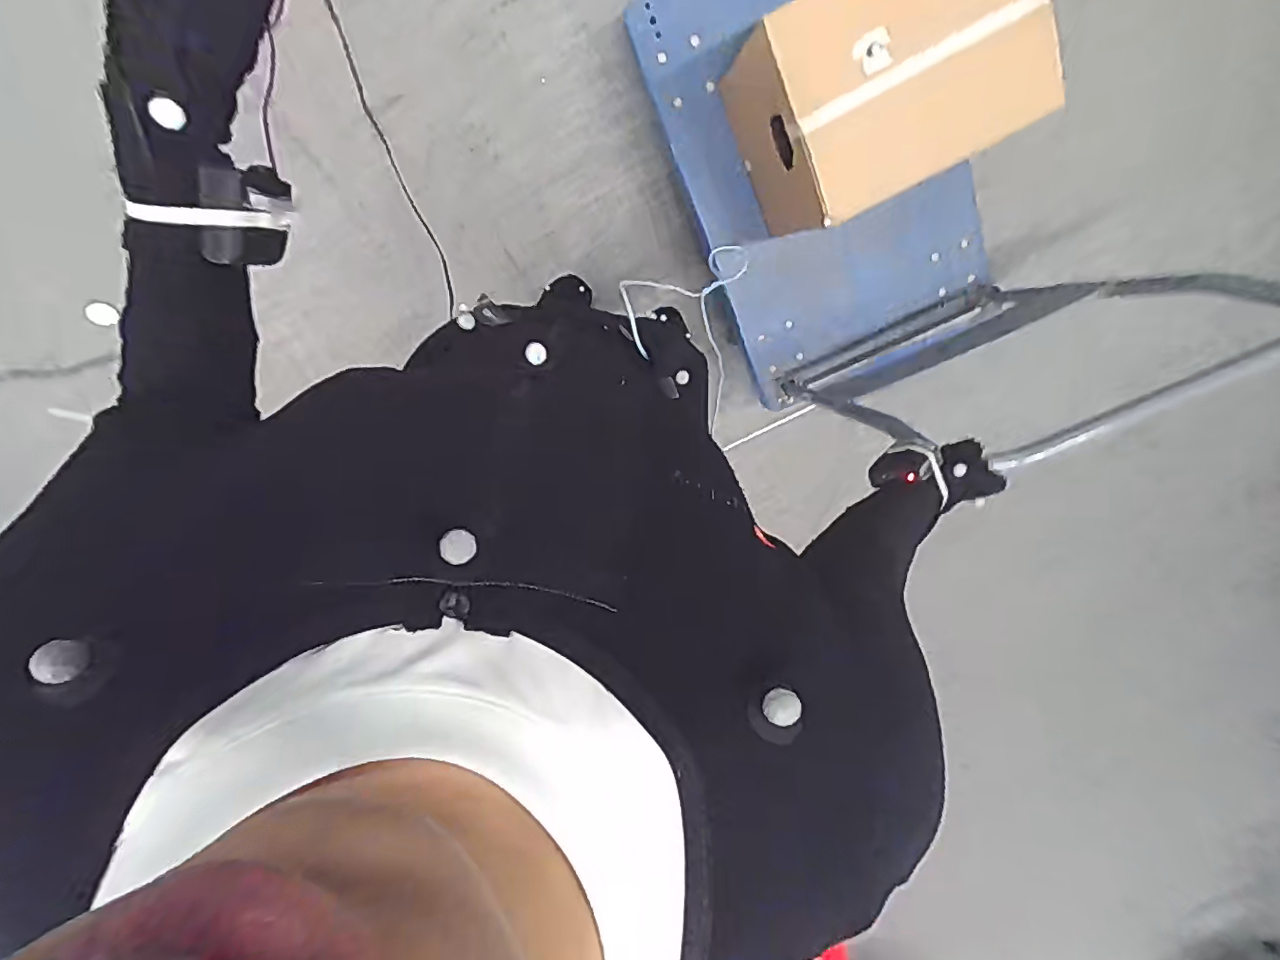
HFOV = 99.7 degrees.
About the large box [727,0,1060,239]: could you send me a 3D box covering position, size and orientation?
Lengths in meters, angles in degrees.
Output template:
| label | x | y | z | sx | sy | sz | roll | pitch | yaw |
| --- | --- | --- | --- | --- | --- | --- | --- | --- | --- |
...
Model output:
| label | x | y | z | sx | sy | sz | roll | pitch | yaw |
| --- | --- | --- | --- | --- | --- | --- | --- | --- | --- |
| large box | 0.422 | -0.684 | 0.972 | 0.408 | 0.320 | 0.320 | -27 | 109 | 6 |
